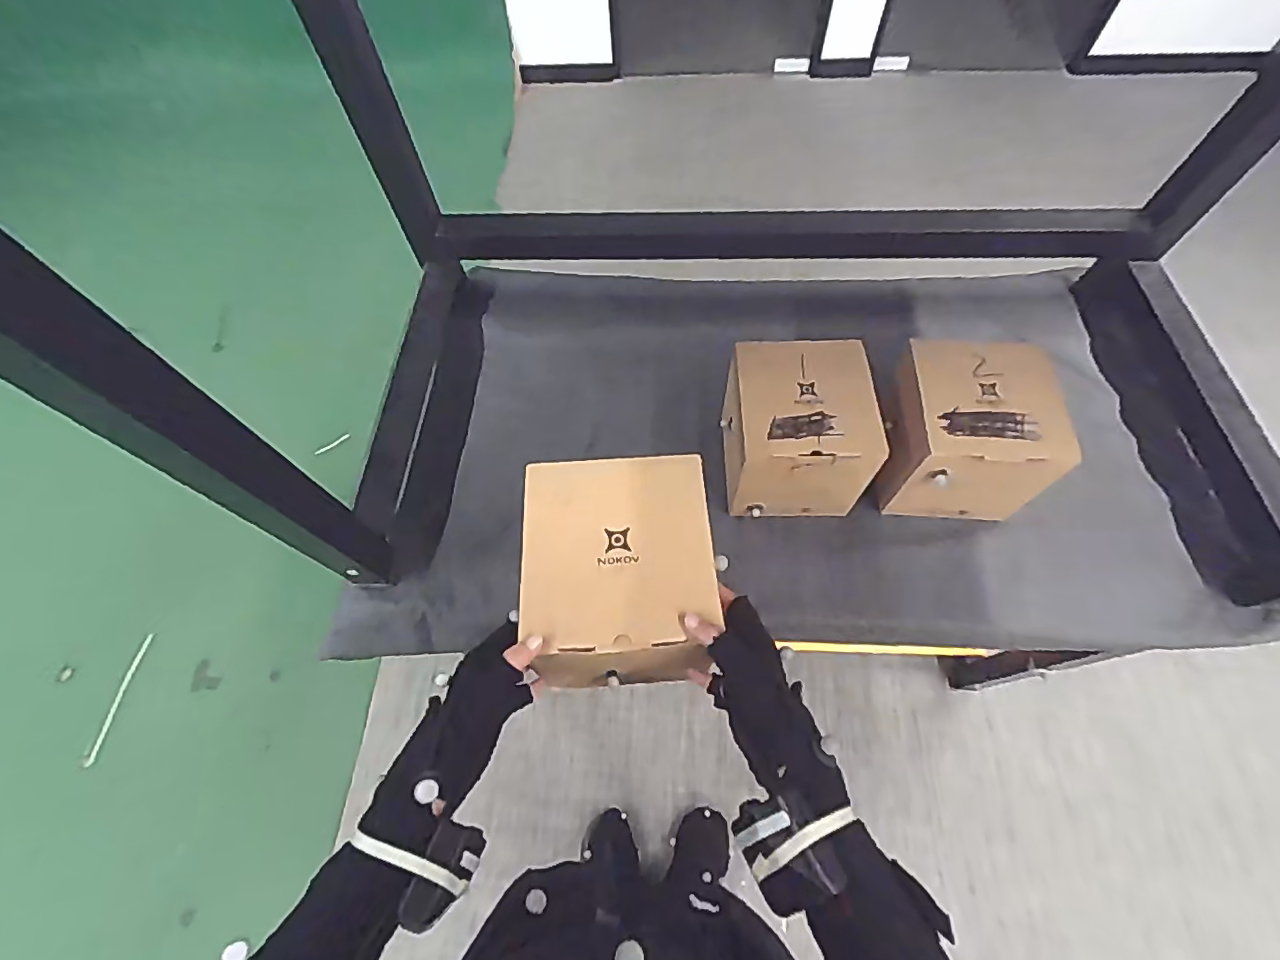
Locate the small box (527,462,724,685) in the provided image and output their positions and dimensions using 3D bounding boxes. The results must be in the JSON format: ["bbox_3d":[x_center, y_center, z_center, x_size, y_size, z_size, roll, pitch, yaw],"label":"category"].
[{"bbox_3d":[-0.016,0.100,0.553,0.168,0.176,0.179,-3,60,-1],"label":"small box"}]

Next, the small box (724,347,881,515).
[{"bbox_3d":[0.208,-0.059,0.745,0.168,0.176,0.179,-1,61,2],"label":"small box"}]
